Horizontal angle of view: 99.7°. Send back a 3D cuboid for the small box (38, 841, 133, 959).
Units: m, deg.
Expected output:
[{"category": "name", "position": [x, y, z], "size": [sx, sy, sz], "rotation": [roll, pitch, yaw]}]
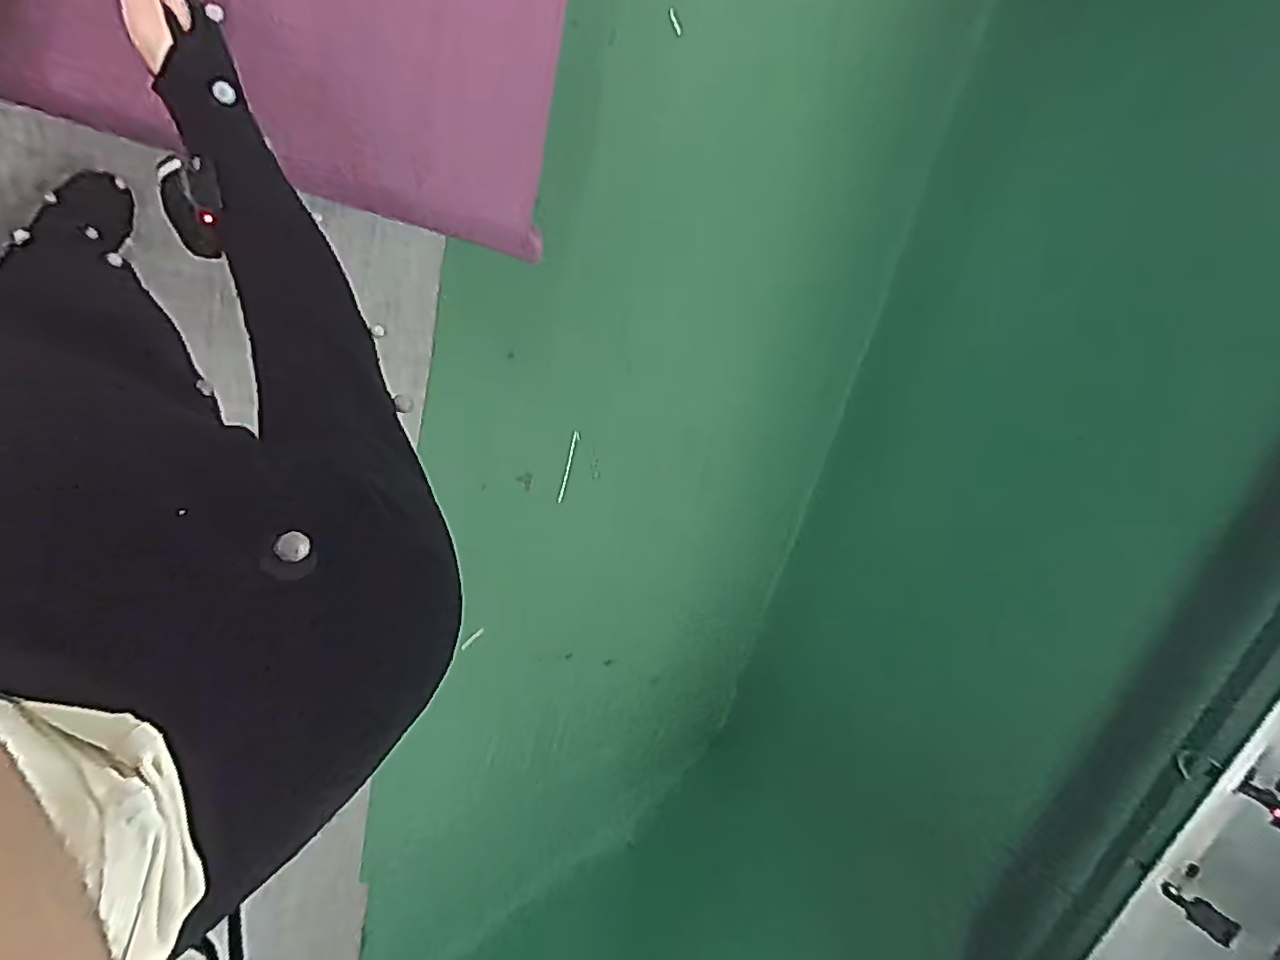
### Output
[{"category": "small box", "position": [-1.475, 1.120, 1.438], "size": [0.168, 0.176, 0.179], "rotation": [2, 112, -49]}]
